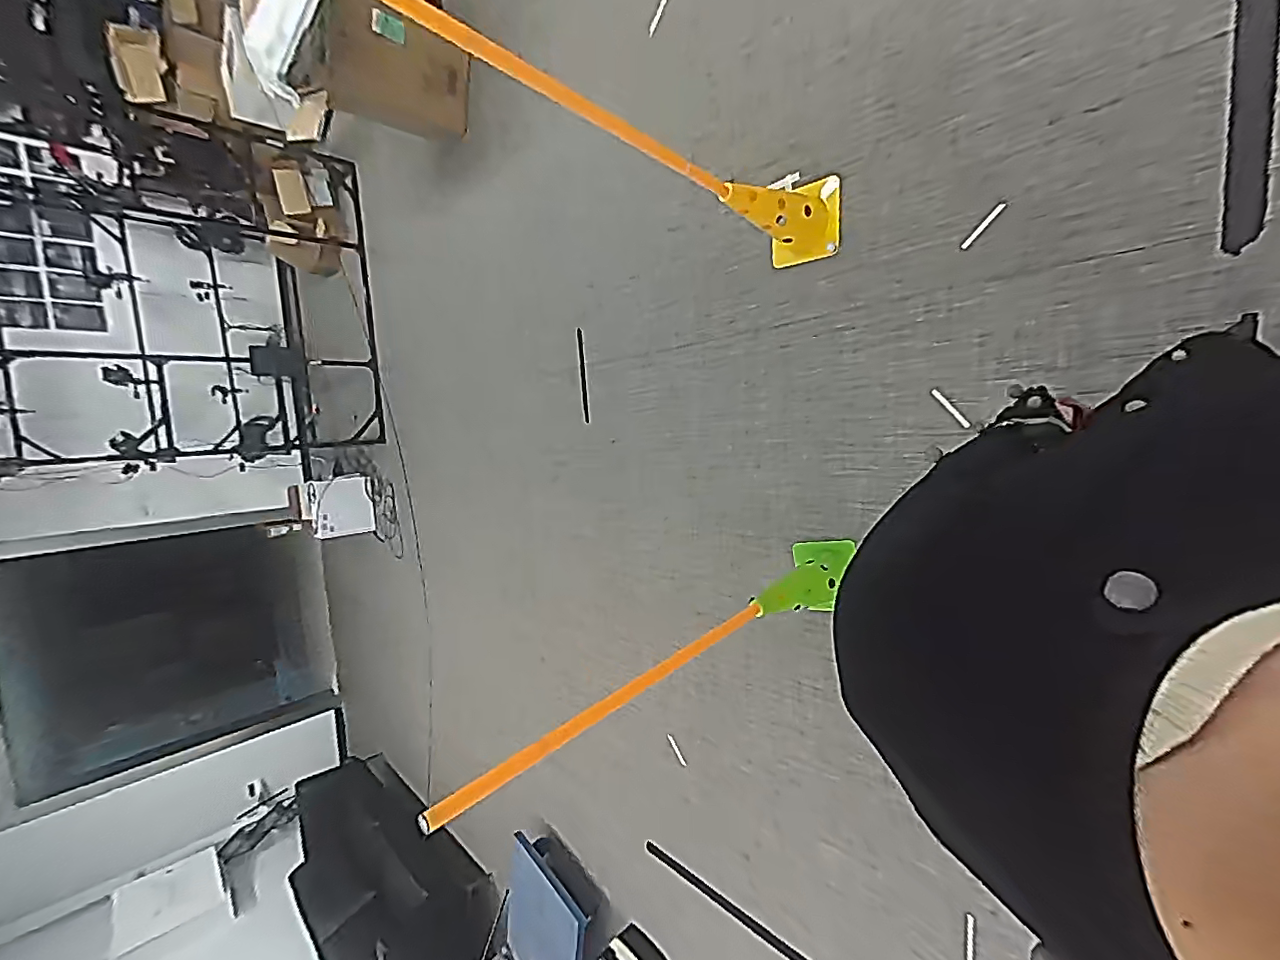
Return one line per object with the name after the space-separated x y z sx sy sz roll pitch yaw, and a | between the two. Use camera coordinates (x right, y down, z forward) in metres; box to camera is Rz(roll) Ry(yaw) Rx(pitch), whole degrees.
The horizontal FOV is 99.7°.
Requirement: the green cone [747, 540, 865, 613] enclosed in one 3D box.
0.405 0.287 1.409 0.200 0.368 0.202 -12 85 47 | green cone
